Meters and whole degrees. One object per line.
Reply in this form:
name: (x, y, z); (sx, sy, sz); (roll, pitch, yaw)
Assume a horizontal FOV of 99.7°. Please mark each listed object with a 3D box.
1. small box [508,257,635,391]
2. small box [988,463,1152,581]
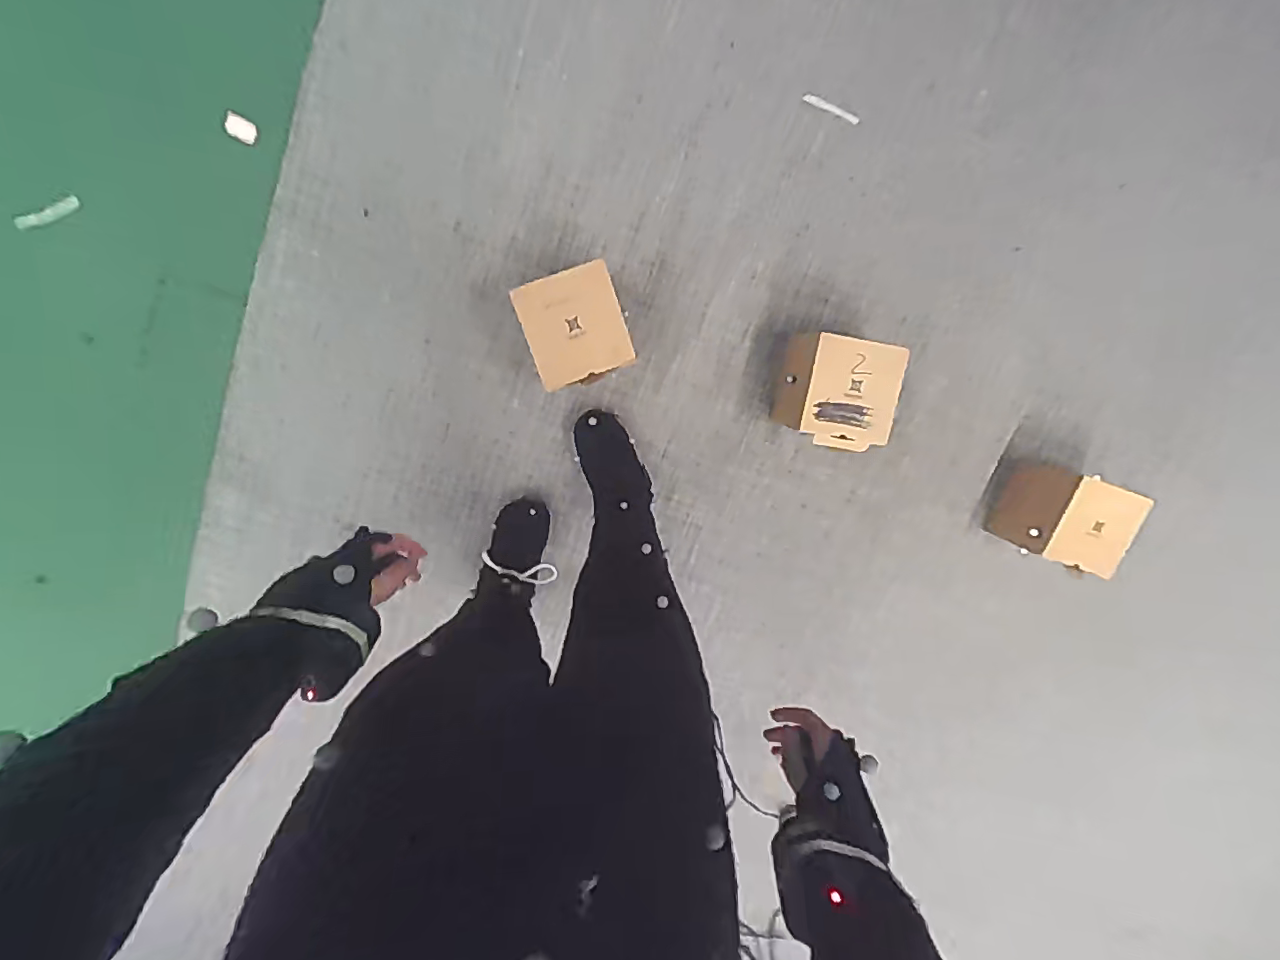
small box: (-0.115, -0.271, 0.961); (0.168, 0.176, 0.179); (-19, 103, 0)
small box: (0.867, 0.077, 1.112); (0.168, 0.176, 0.179); (18, 102, -8)
